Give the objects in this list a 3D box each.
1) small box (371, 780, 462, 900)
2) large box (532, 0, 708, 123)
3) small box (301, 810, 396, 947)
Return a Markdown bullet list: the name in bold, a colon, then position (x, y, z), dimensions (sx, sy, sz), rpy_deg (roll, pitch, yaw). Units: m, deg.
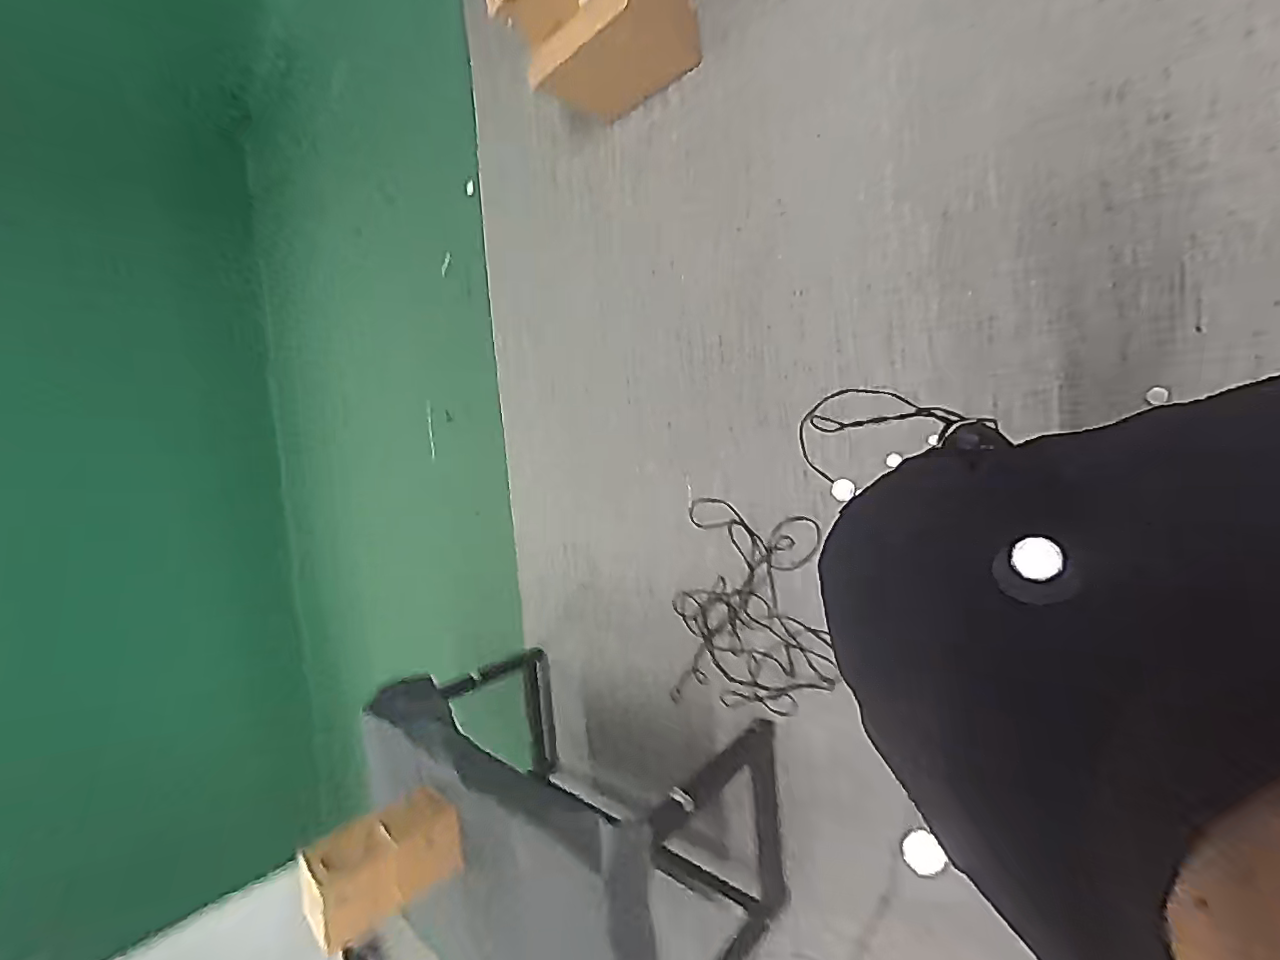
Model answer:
- **small box**: position (-0.597, 0.951, 1.451), dimensions (0.168, 0.176, 0.179), rpy_deg (4, 100, 43)
- **large box**: position (-0.061, -1.329, 1.553), dimensions (0.408, 0.320, 0.320), rpy_deg (-2, 95, 41)
- **small box**: position (-0.723, 0.981, 1.348), dimensions (0.168, 0.176, 0.179), rpy_deg (10, 102, 42)
